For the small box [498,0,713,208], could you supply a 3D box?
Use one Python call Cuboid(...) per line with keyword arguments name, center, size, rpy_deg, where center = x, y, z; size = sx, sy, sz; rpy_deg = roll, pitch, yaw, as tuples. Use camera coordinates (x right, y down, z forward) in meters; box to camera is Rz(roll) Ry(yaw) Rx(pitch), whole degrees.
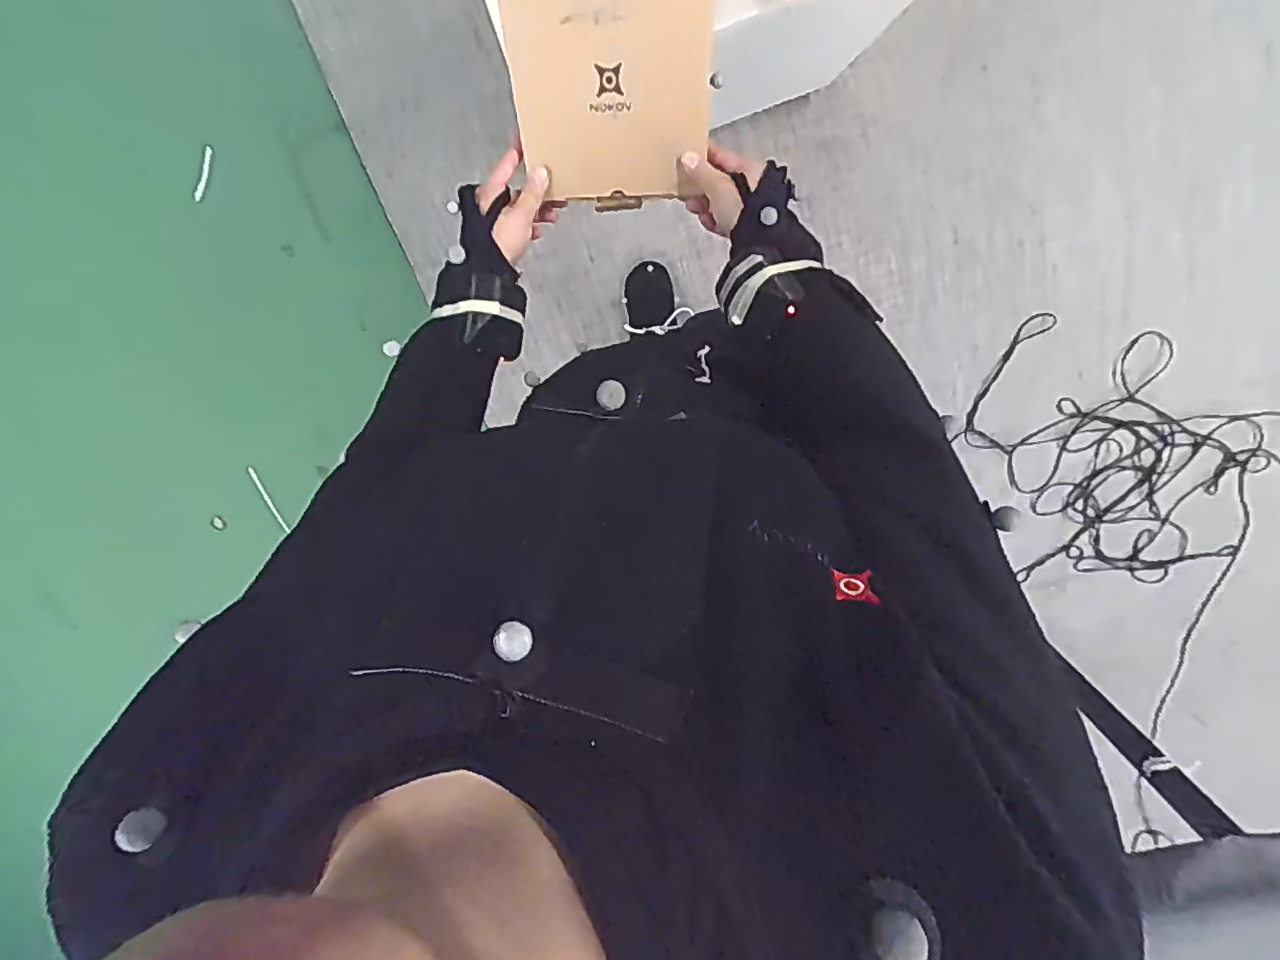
Cuboid(name="small box", center=(-0.019, -0.374, 0.501), size=(0.168, 0.176, 0.179), rpy_deg=(-1, 133, 5))
